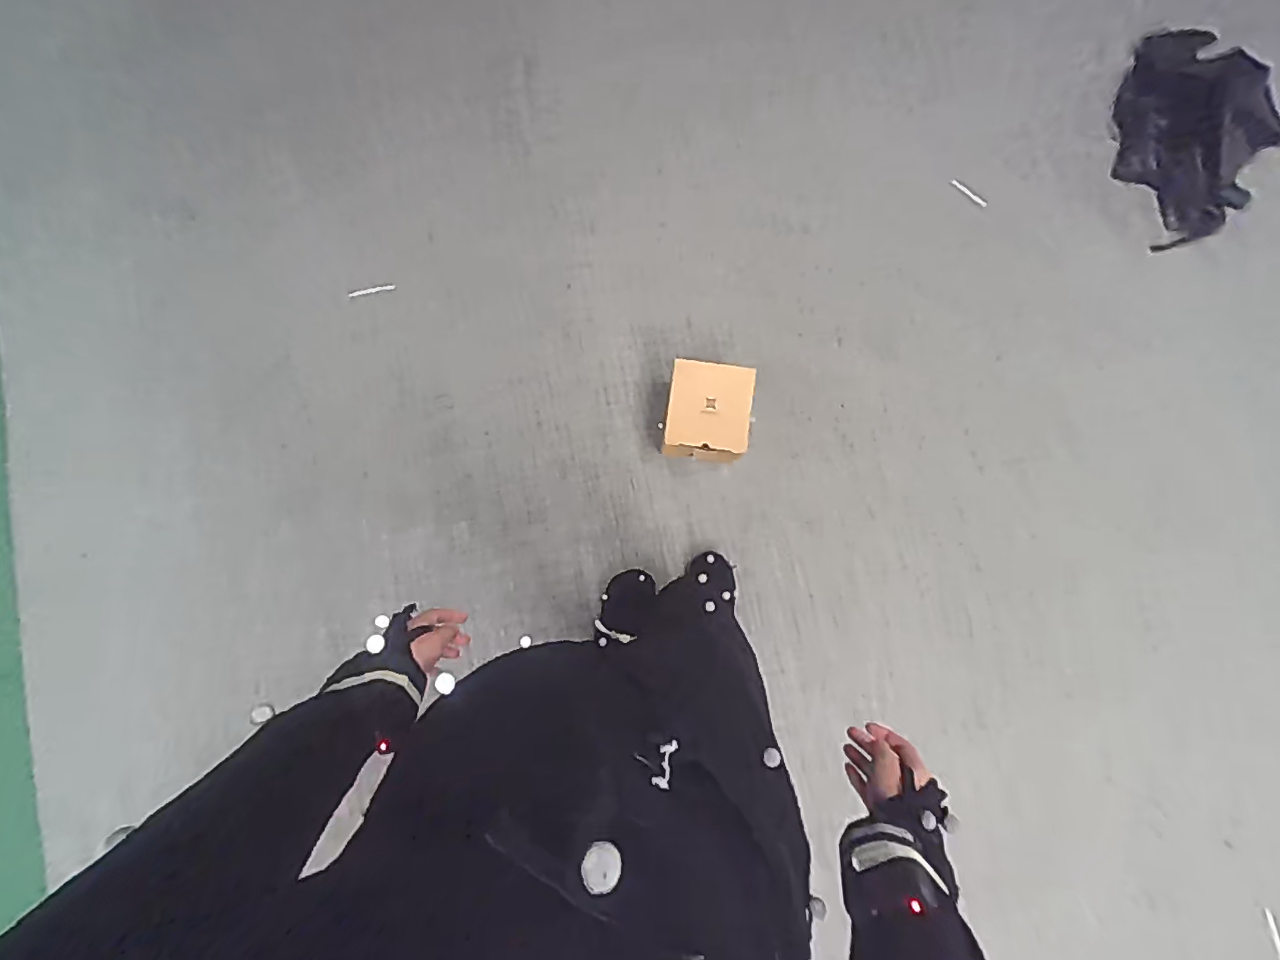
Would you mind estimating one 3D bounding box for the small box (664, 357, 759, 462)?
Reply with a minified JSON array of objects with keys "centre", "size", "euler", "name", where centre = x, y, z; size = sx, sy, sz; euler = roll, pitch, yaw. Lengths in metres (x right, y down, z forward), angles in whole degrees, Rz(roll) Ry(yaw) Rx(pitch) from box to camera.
[{"centre":[0.143,-0.143,1.145],"size":[0.168,0.176,0.179],"euler":[7,86,0],"name":"small box"}]
